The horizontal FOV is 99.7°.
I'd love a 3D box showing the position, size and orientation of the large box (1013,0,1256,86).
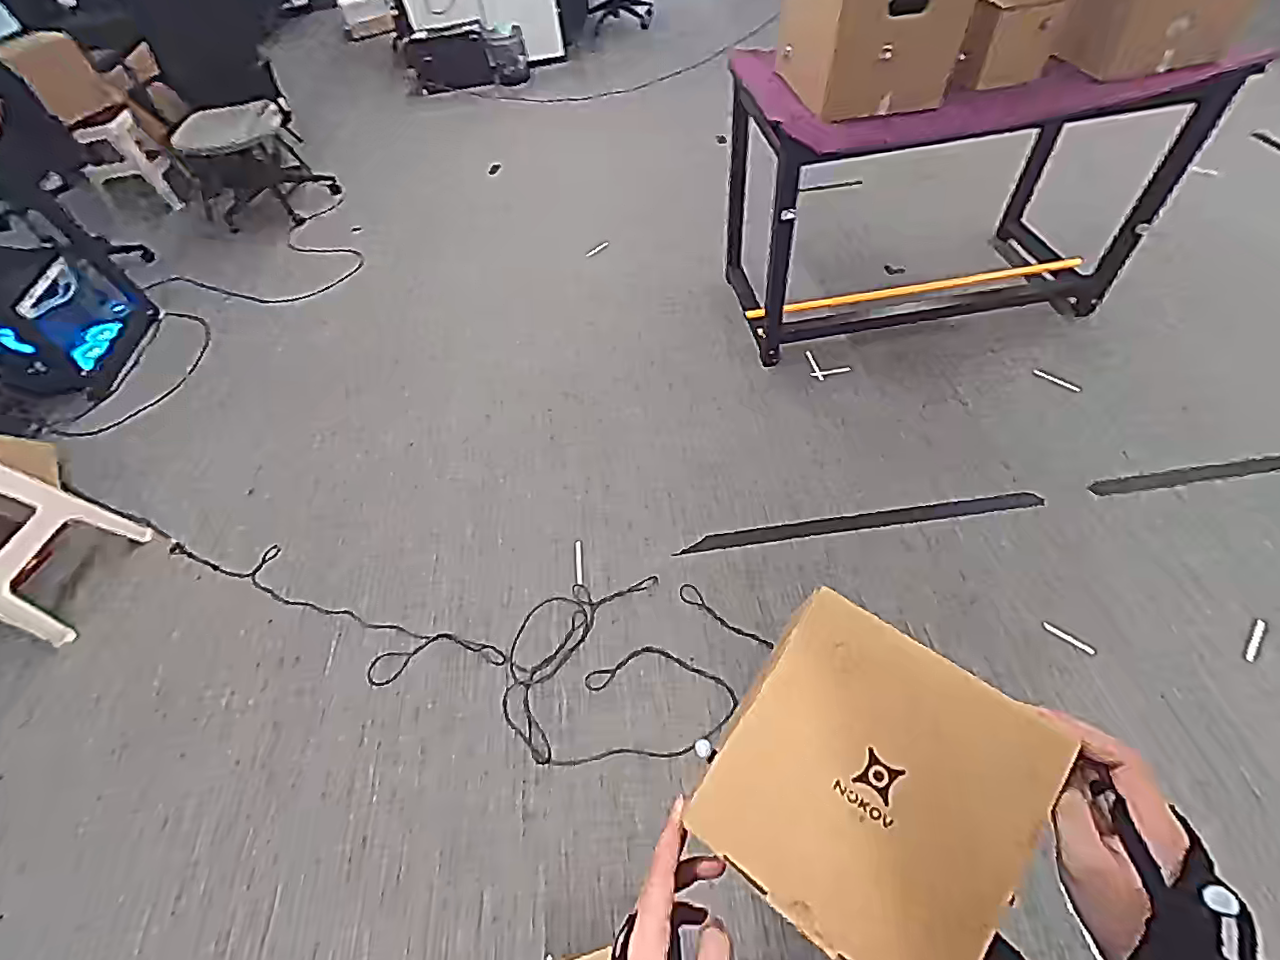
[{"bbox_3d":[1.250,-1.248,1.354,0.320,0.320,0.408,-9,51,0],"label":"large box"}]
